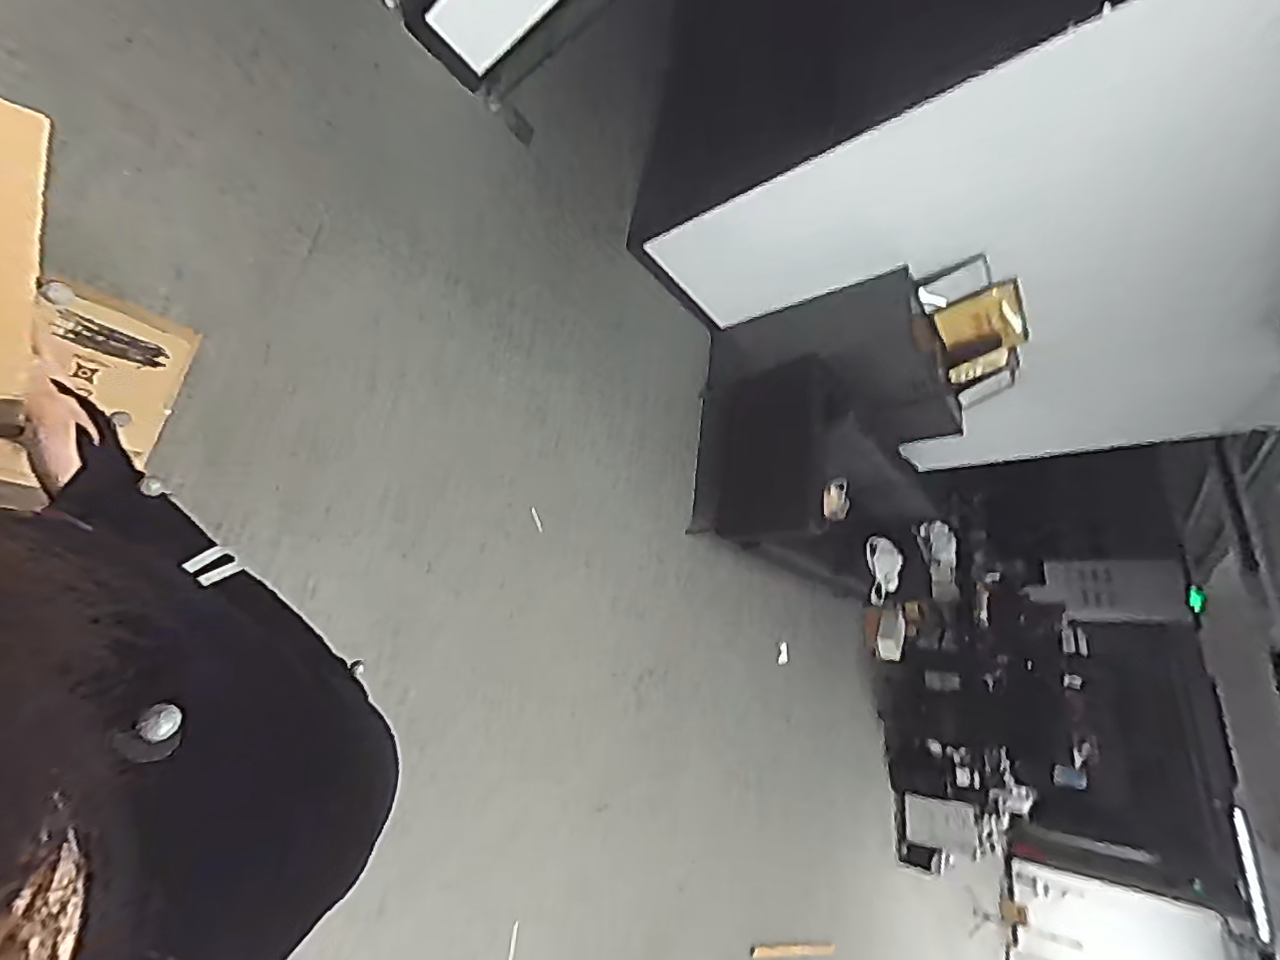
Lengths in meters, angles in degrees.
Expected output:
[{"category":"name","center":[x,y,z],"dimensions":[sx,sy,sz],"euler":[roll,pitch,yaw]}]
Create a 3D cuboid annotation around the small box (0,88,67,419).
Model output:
[{"category":"small box","center":[-0.467,-0.140,0.312],"dimensions":[0.168,0.176,0.179],"euler":[4,84,-52]}]
